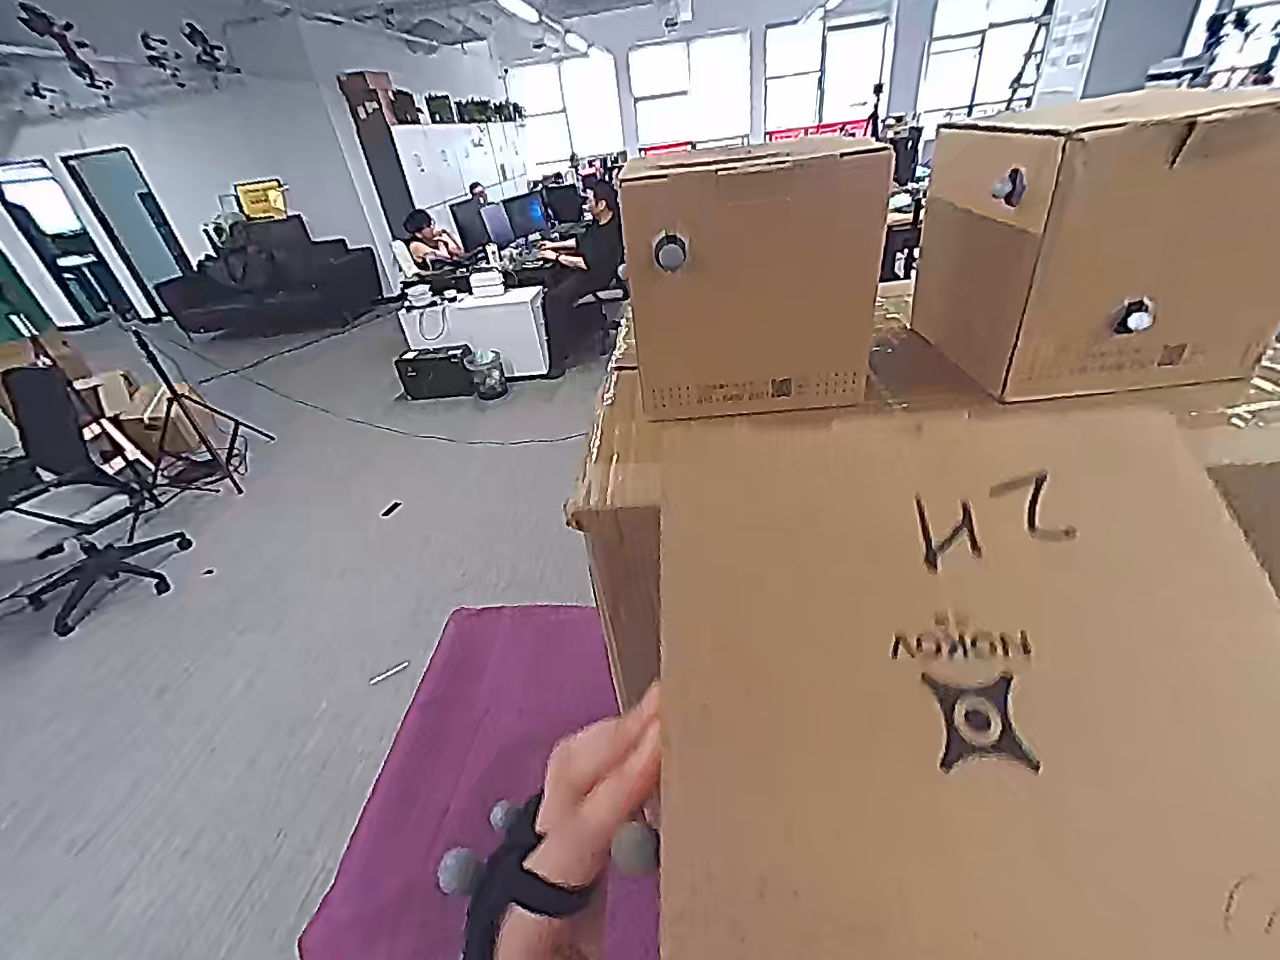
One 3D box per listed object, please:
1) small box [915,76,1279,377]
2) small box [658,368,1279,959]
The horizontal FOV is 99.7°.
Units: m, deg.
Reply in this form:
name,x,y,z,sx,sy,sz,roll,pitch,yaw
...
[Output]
name,x,y,z,sx,sy,sz,roll,pitch,yaw
small box,0.327,-0.182,0.401,0.168,0.176,0.179,-6,34,5
small box,0.095,0.082,0.207,0.168,0.176,0.179,-2,60,5
